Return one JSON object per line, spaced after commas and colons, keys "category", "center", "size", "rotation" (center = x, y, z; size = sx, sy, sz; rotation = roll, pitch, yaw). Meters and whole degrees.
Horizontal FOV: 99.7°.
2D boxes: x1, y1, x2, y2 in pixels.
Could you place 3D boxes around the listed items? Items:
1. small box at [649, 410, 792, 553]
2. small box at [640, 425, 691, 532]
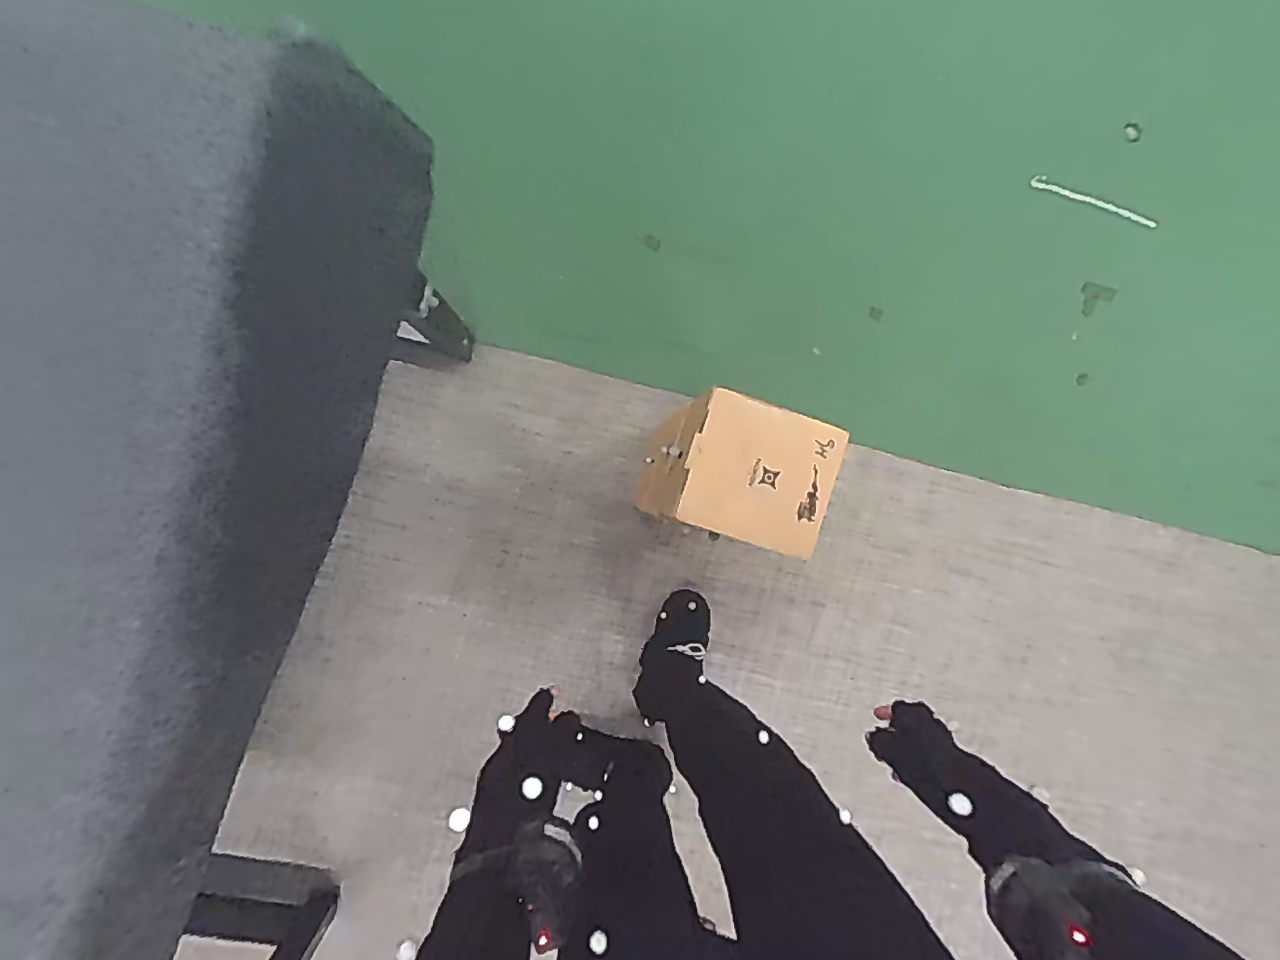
{"category": "small box", "center": [0.119, 0.002, 0.883], "size": [0.168, 0.176, 0.179], "rotation": [18, 89, -4]}
{"category": "small box", "center": [0.103, 0.007, 1.047], "size": [0.168, 0.176, 0.179], "rotation": [18, 90, -4]}
